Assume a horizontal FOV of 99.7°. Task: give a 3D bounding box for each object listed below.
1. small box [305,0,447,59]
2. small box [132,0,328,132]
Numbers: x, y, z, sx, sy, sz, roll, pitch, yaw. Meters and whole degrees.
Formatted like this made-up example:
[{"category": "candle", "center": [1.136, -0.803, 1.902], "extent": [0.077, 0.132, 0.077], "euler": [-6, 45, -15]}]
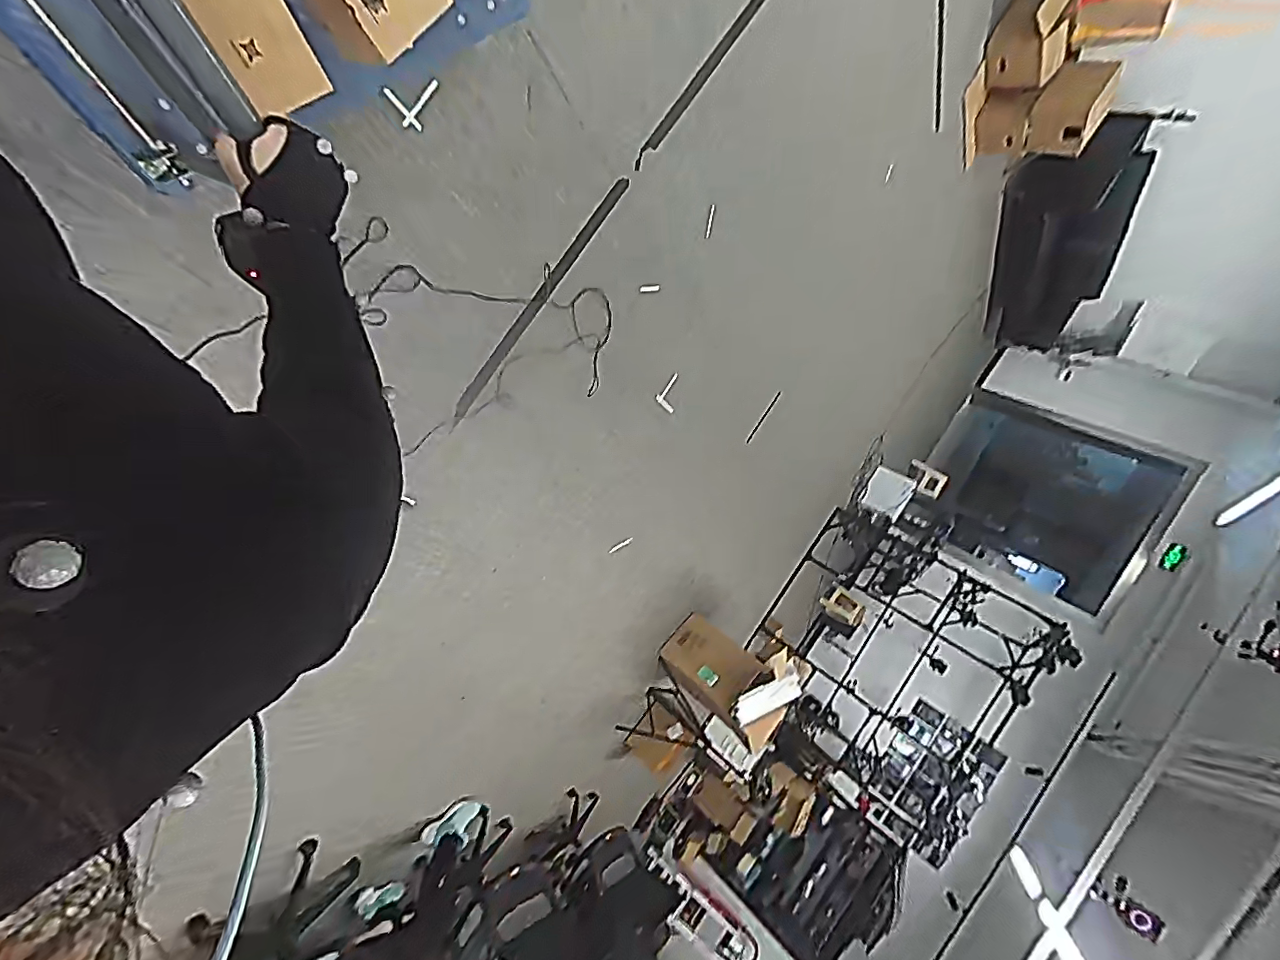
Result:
[{"category": "small box", "center": [-0.479, -0.862, 0.928], "extent": [0.179, 0.176, 0.168], "euler": [-52, 146, -9]}, {"category": "small box", "center": [-0.650, -0.682, 0.857], "extent": [0.179, 0.176, 0.168], "euler": [-45, 145, -19]}]
